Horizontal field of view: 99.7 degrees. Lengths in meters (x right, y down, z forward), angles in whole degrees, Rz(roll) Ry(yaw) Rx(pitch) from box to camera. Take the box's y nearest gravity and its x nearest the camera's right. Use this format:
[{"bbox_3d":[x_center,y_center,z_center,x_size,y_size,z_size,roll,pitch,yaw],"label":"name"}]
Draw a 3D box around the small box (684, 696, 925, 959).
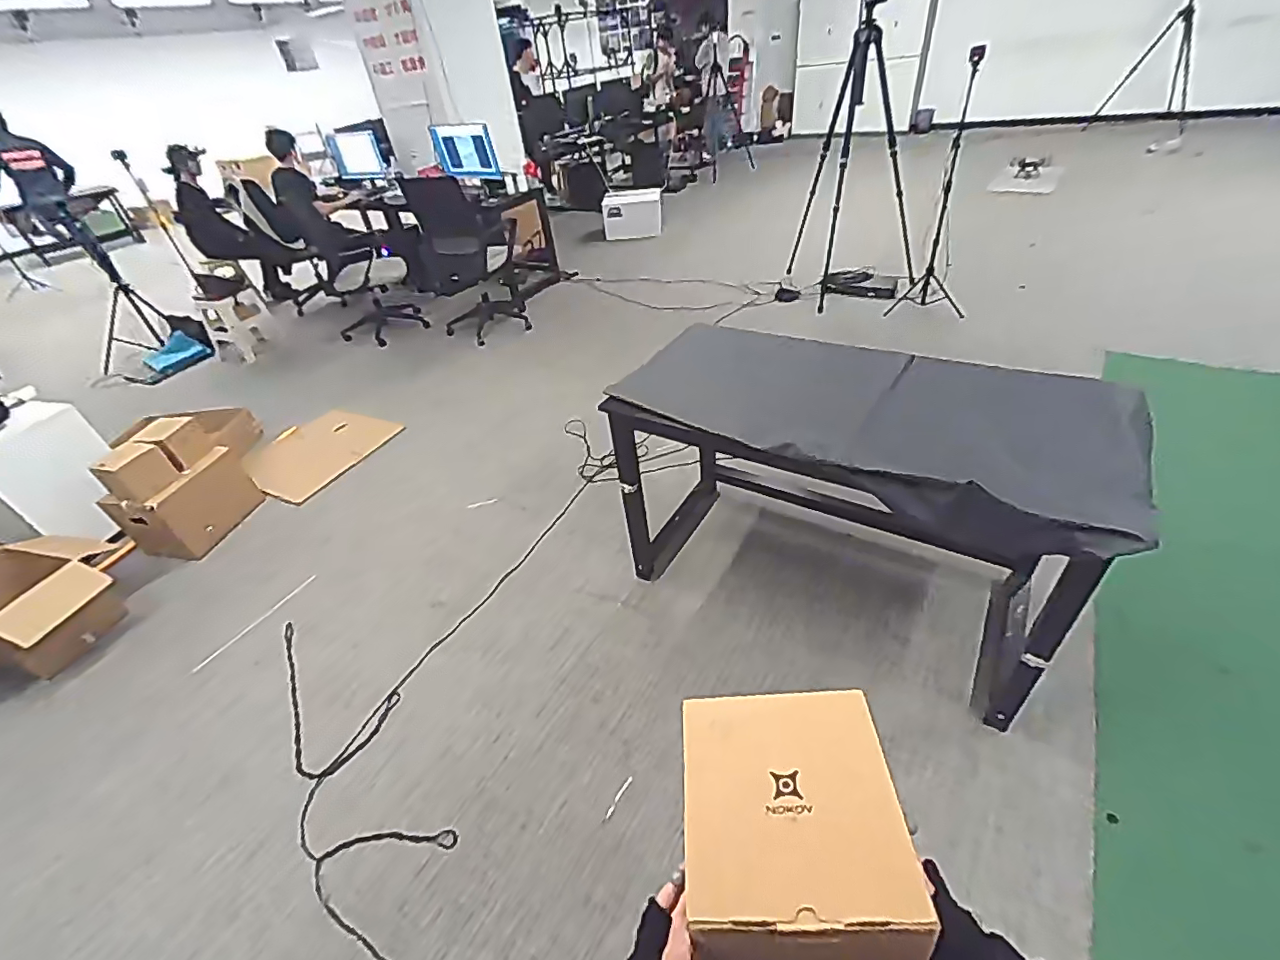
[{"bbox_3d":[0.128,0.321,0.485,0.168,0.176,0.179,-6,34,8],"label":"small box"}]
